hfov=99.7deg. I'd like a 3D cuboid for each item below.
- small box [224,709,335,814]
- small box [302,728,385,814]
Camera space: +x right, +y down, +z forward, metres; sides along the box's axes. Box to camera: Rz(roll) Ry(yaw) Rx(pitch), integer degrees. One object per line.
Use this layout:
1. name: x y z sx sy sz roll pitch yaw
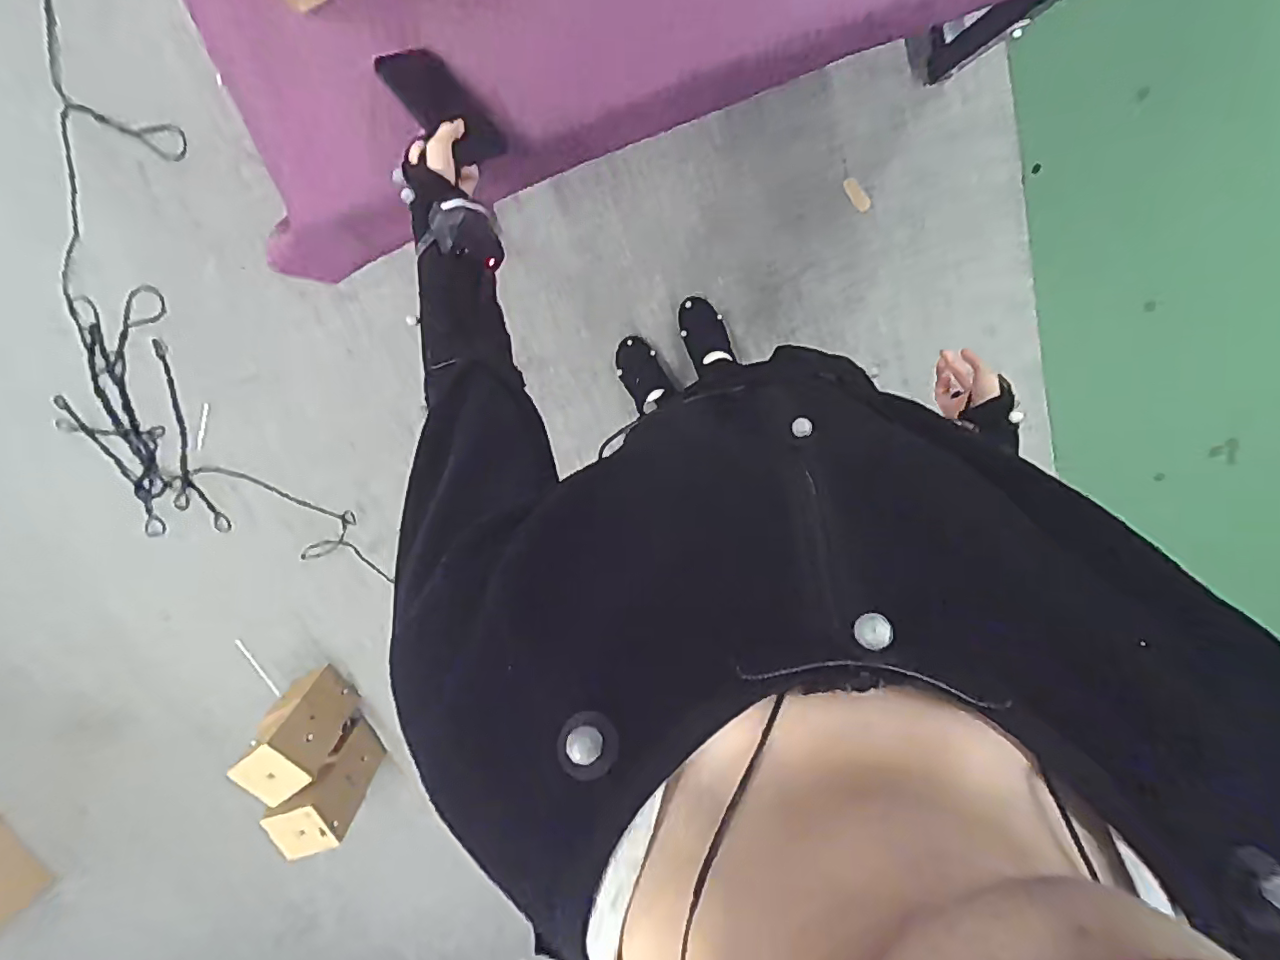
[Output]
1. small box: -1.012 0.793 1.541 0.179 0.176 0.168 -36 105 12
2. small box: -0.973 0.937 1.761 0.168 0.176 0.179 -19 108 7
